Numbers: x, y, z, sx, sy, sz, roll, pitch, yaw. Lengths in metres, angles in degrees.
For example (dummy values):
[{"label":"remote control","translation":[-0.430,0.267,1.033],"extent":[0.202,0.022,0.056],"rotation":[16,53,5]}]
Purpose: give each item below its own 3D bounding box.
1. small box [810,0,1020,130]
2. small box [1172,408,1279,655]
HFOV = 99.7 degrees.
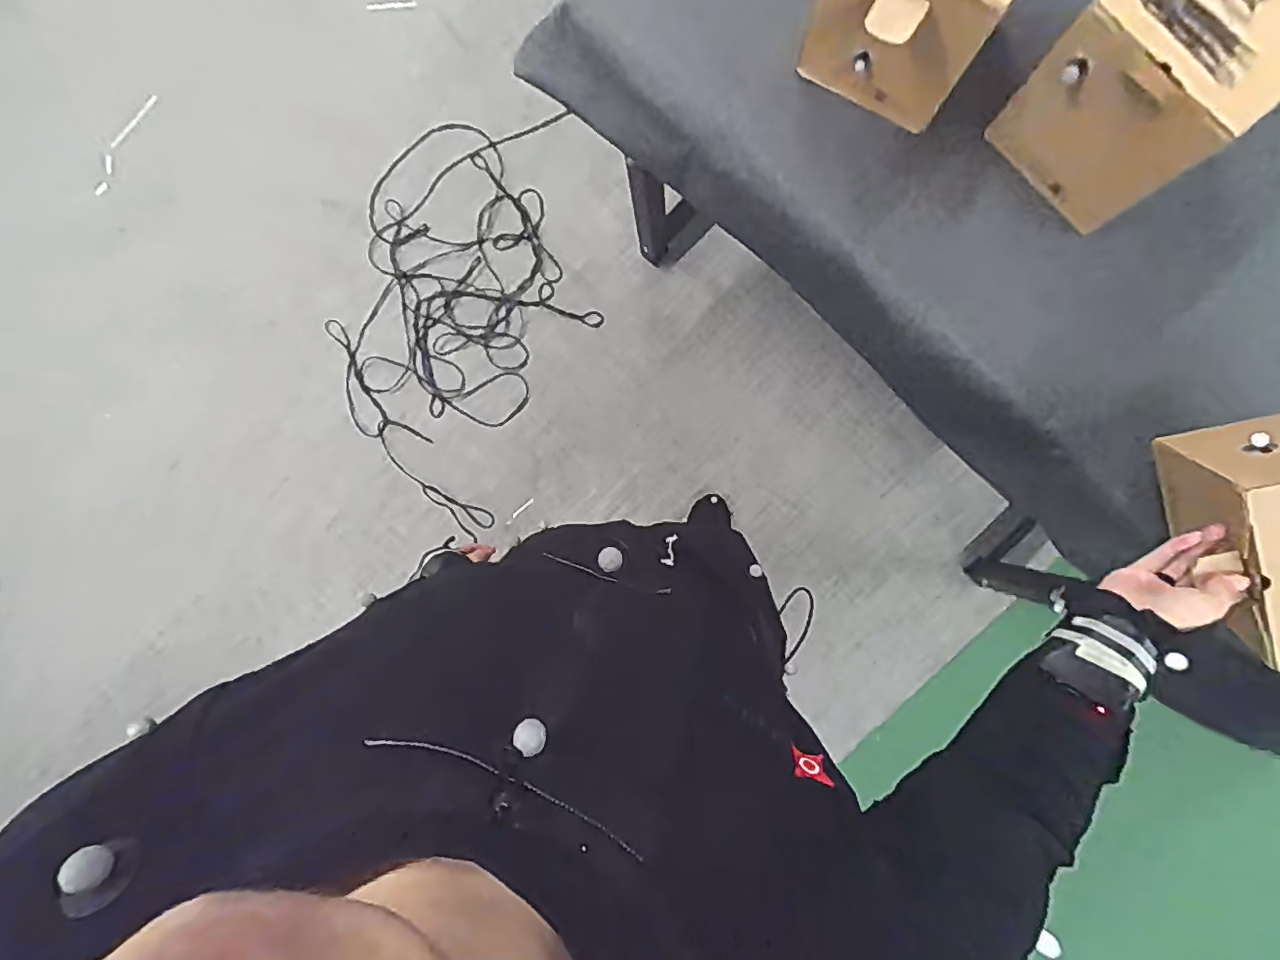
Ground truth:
[{"label":"small box","translation":[0.297,-0.514,0.548],"extent":[0.168,0.176,0.179],"rotation":[30,91,4]},{"label":"small box","translation":[0.603,0.031,0.458],"extent":[0.179,0.176,0.168],"rotation":[-16,101,27]}]
